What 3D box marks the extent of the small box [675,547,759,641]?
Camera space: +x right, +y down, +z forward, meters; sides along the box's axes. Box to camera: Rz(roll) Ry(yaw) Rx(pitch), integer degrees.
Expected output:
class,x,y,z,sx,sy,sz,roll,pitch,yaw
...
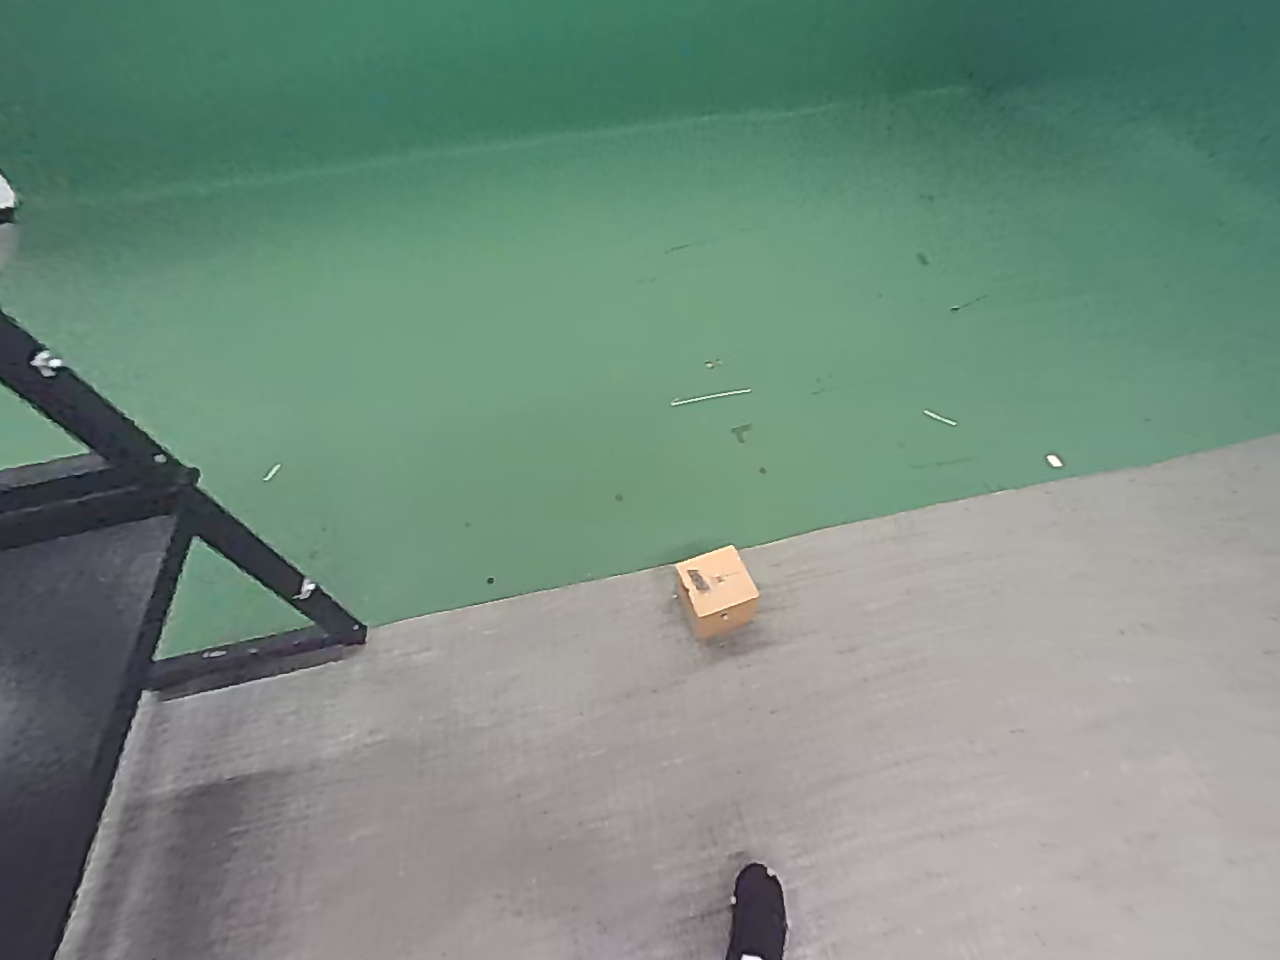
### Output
class,x,y,z,sx,sy,sz,roll,pitch,yaw
small box,0.205,0.316,1.478,0.179,0.176,0.168,-17,55,-10
